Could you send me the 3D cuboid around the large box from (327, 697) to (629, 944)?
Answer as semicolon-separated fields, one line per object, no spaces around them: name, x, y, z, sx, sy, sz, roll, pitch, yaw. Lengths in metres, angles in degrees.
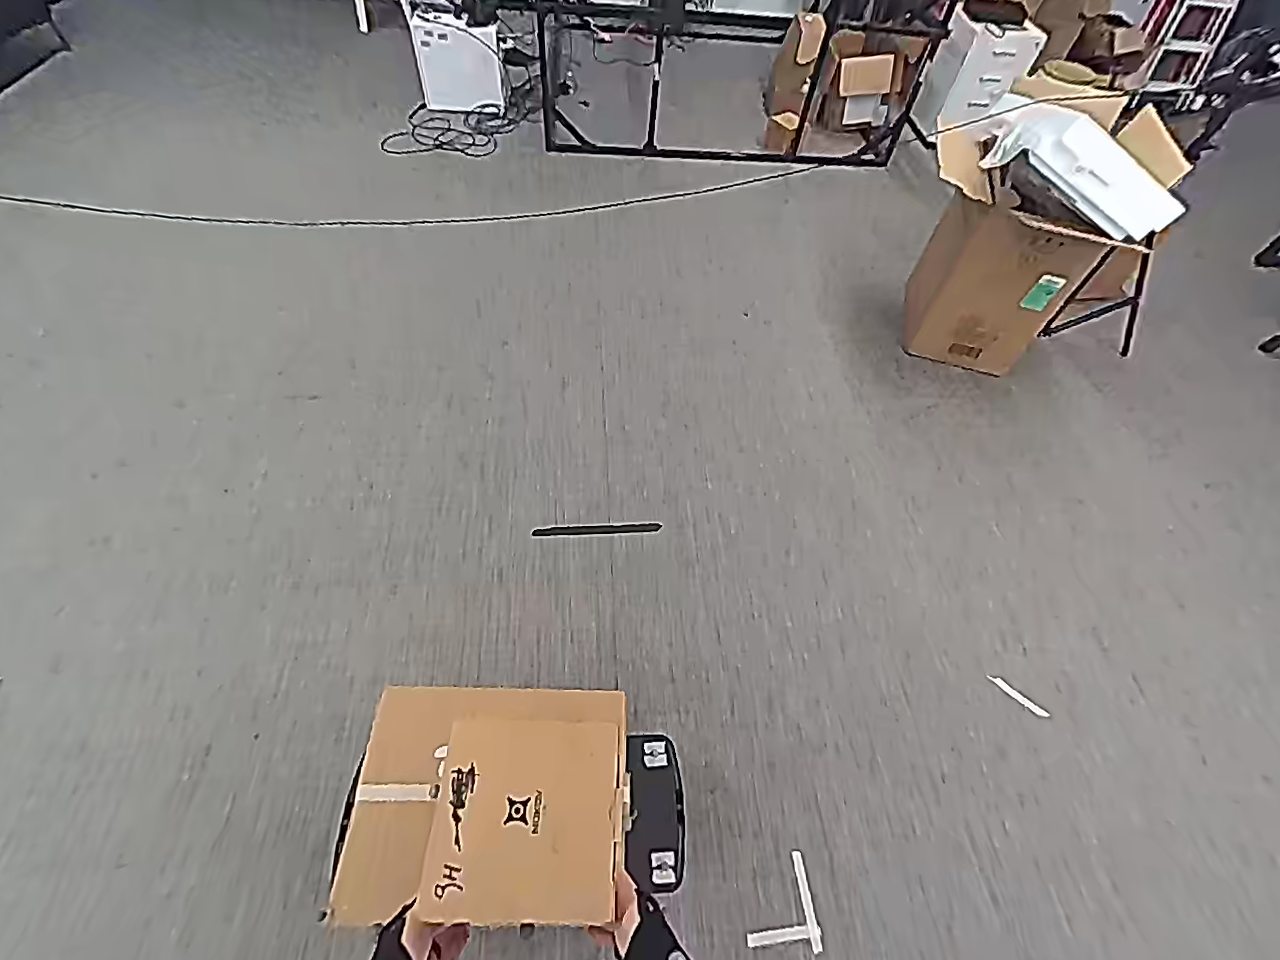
large box;-0.224;0.572;0.927;0.408;0.320;0.320;2;53;-3

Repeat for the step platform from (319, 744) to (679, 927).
step platform;-0.261;0.721;1.112;0.684;0.204;0.286;4;54;-1

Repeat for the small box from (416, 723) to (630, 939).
small box;-0.106;0.365;0.566;0.179;0.176;0.168;3;52;-2
